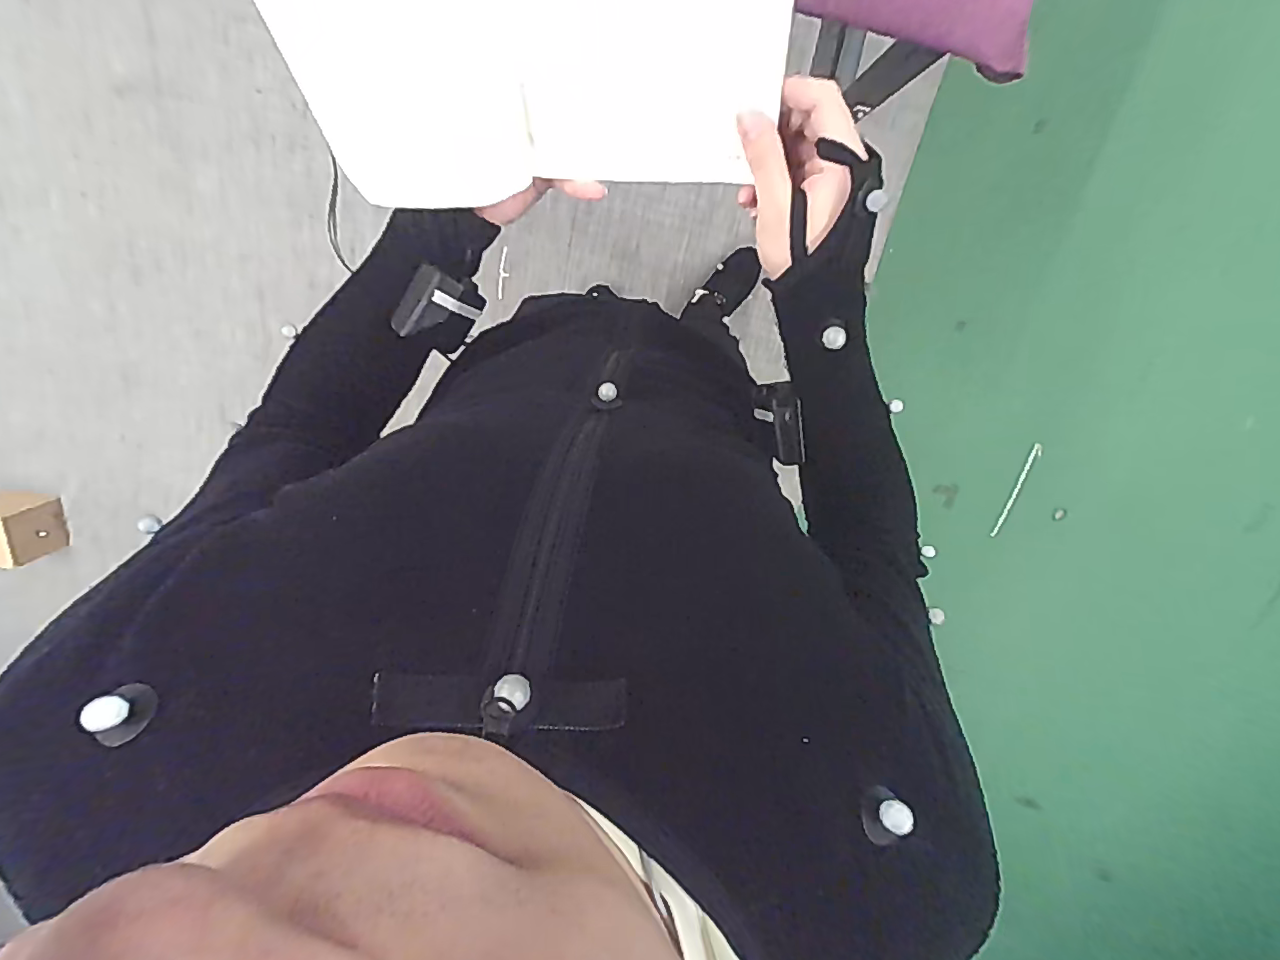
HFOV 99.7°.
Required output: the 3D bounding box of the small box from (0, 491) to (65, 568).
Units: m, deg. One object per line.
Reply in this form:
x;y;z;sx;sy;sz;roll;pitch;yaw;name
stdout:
-1.884;0.143;1.615;0.179;0.176;0.168;8;109;-3;small box
